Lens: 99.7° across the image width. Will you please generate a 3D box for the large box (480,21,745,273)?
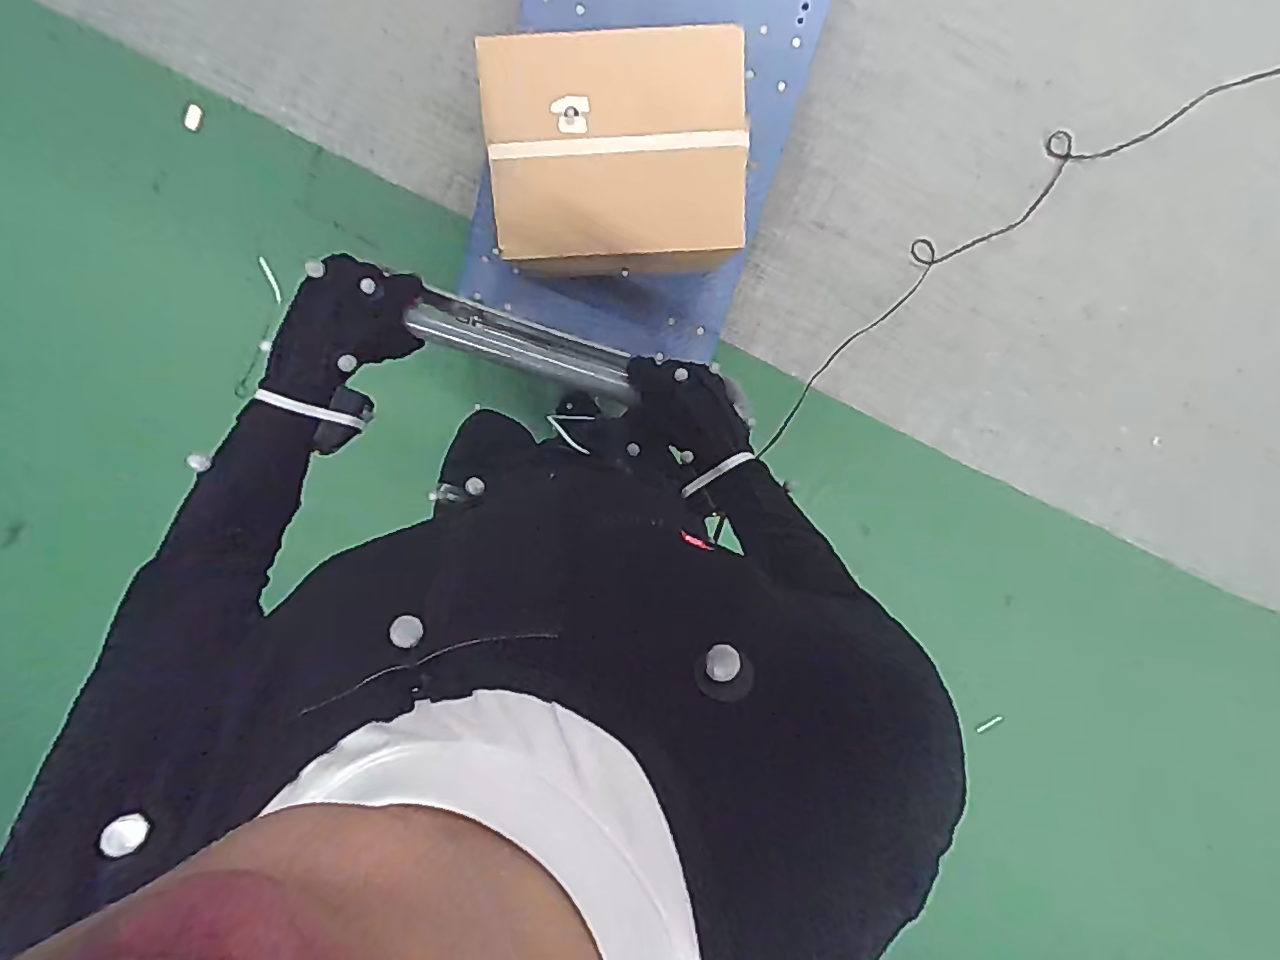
[{"bbox_3d":[-0.034,-0.566,0.991,0.408,0.320,0.320,-3,105,0],"label":"large box"}]
